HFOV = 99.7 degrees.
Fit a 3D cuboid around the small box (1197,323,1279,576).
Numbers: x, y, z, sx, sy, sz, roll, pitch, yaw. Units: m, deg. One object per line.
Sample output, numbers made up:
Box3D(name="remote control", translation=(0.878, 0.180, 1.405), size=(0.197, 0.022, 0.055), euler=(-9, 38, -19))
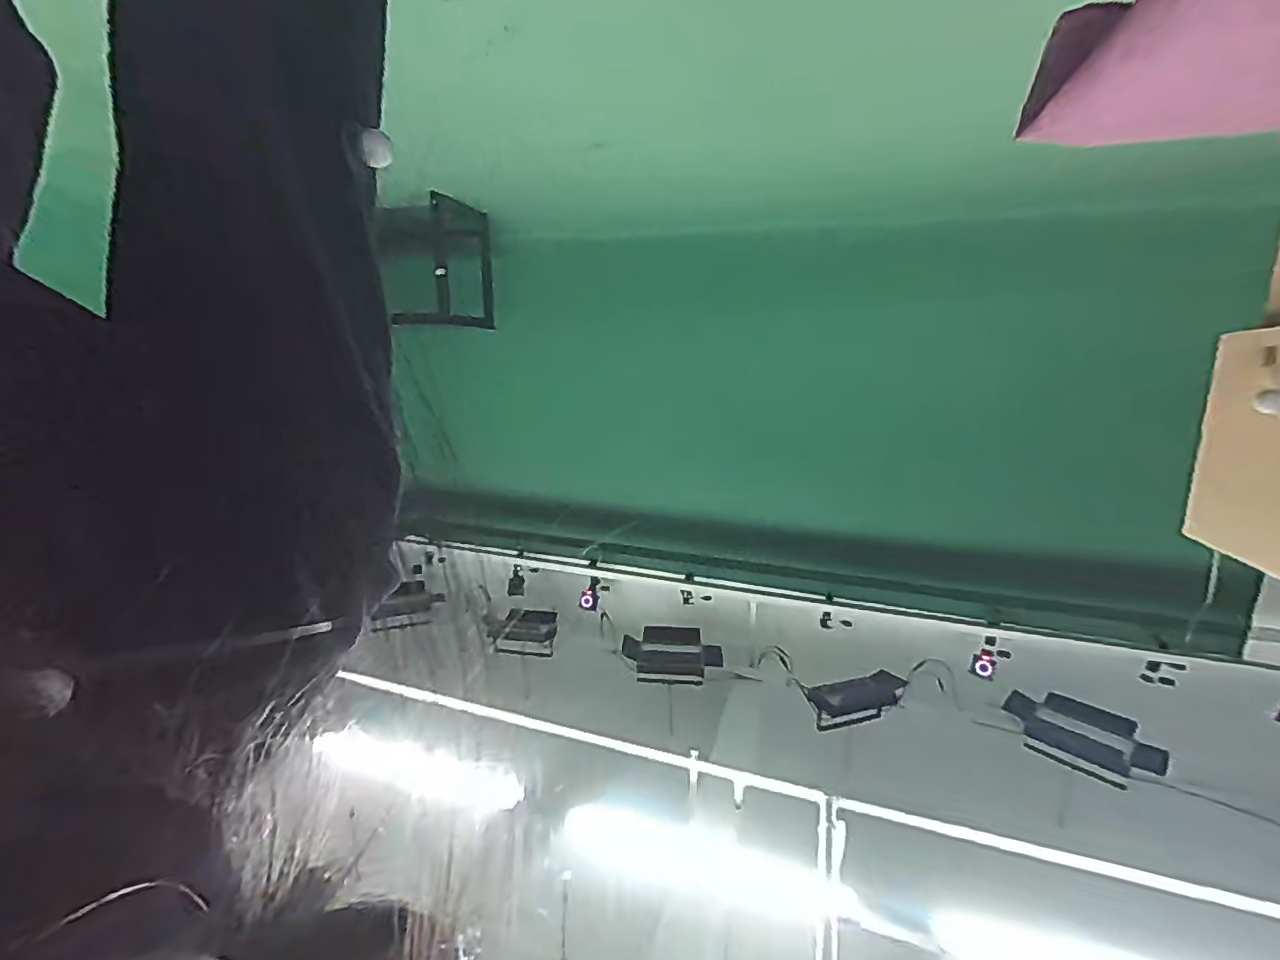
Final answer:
Box3D(name="small box", translation=(0.511, -0.014, 0.327), size=(0.179, 0.176, 0.168), euler=(4, -169, 20))
